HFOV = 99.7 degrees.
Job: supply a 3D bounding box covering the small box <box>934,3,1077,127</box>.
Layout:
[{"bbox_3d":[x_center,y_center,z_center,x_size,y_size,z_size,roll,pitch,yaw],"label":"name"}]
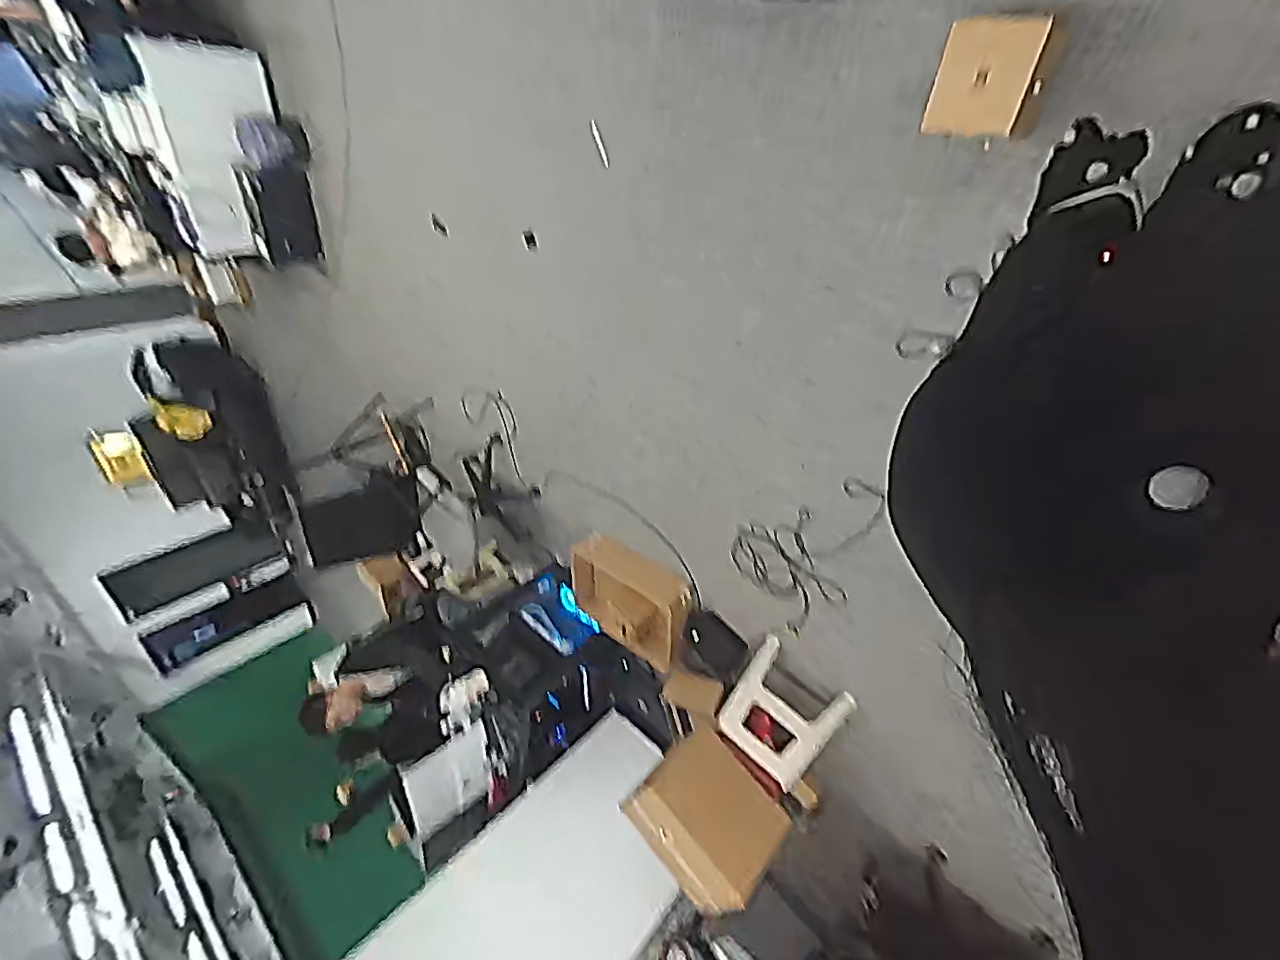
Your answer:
[{"bbox_3d":[0.708,-0.793,1.047,0.168,0.176,0.179,28,130,31],"label":"small box"}]
